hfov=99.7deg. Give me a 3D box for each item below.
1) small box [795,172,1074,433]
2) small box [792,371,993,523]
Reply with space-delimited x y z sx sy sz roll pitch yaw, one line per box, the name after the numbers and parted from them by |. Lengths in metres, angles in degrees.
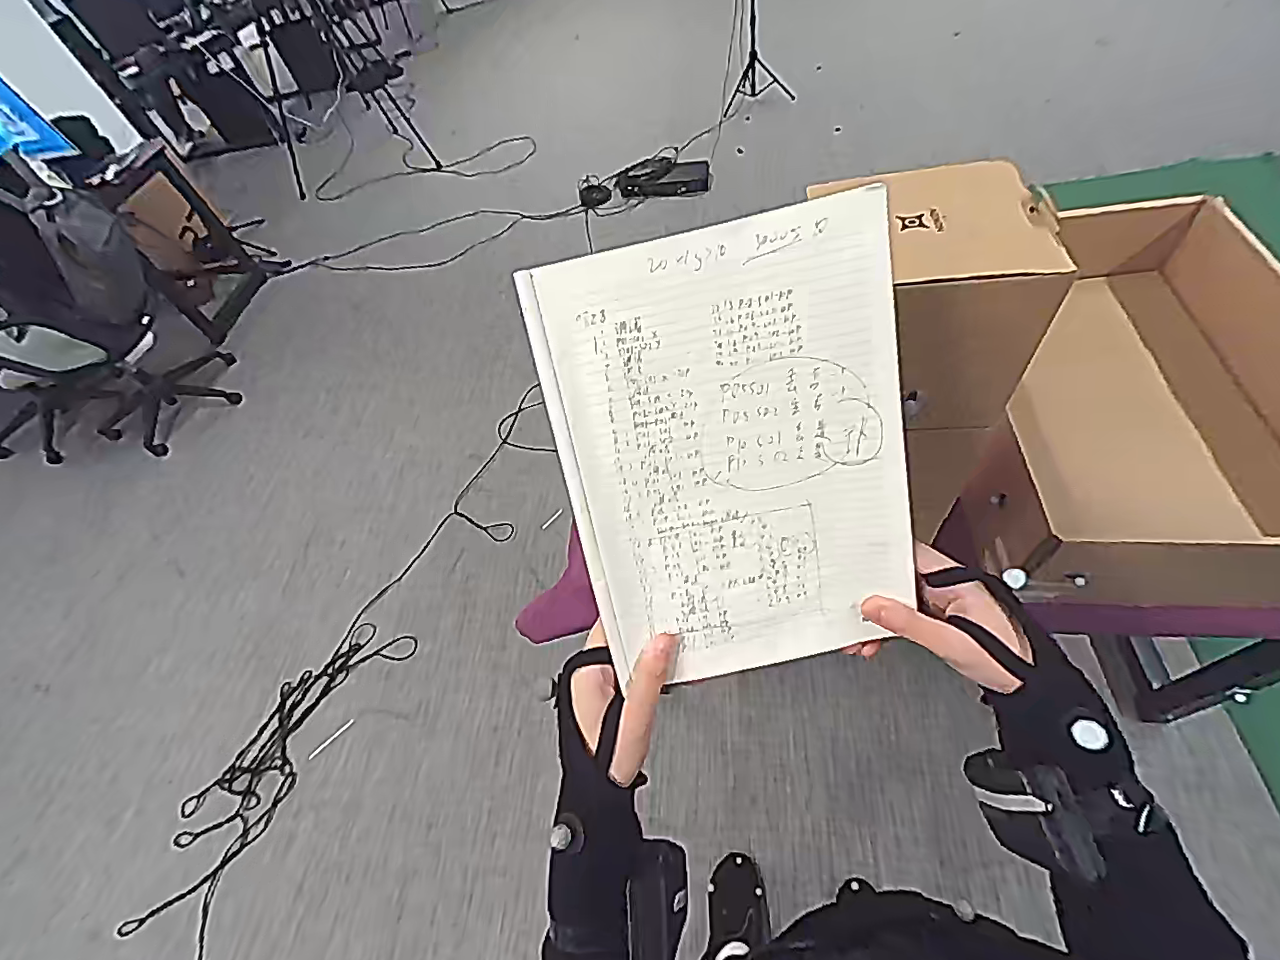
0.247 -0.158 0.510 0.179 0.176 0.168 -1 53 11 | small box
0.276 -0.060 0.640 0.179 0.176 0.168 -1 53 13 | small box
